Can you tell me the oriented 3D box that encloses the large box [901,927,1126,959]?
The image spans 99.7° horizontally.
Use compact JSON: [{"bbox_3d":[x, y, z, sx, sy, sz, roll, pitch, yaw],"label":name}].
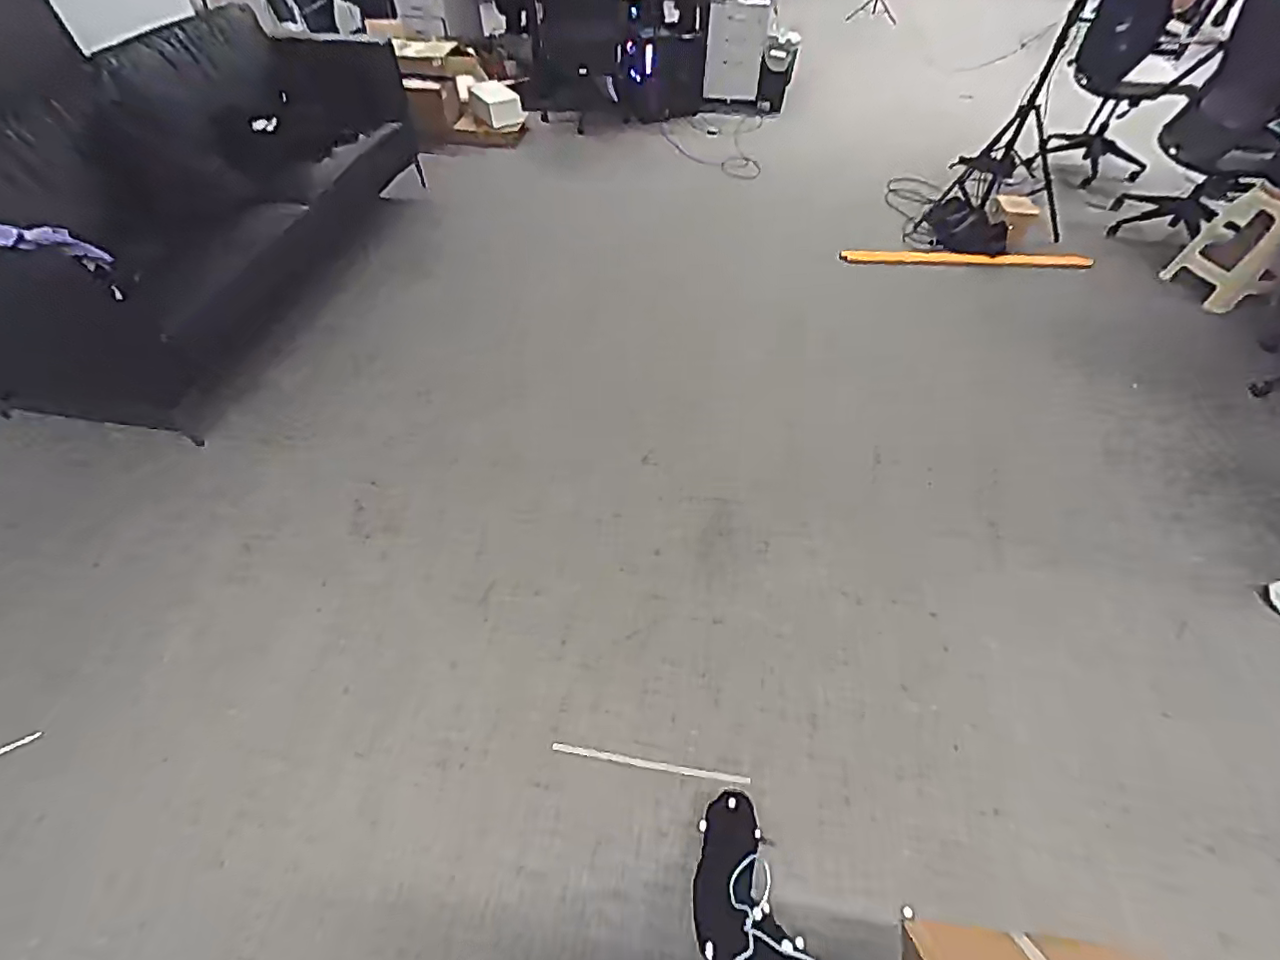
[{"bbox_3d":[0.518,0.798,0.582,0.320,0.408,0.320,4,82,6],"label":"large box"}]
